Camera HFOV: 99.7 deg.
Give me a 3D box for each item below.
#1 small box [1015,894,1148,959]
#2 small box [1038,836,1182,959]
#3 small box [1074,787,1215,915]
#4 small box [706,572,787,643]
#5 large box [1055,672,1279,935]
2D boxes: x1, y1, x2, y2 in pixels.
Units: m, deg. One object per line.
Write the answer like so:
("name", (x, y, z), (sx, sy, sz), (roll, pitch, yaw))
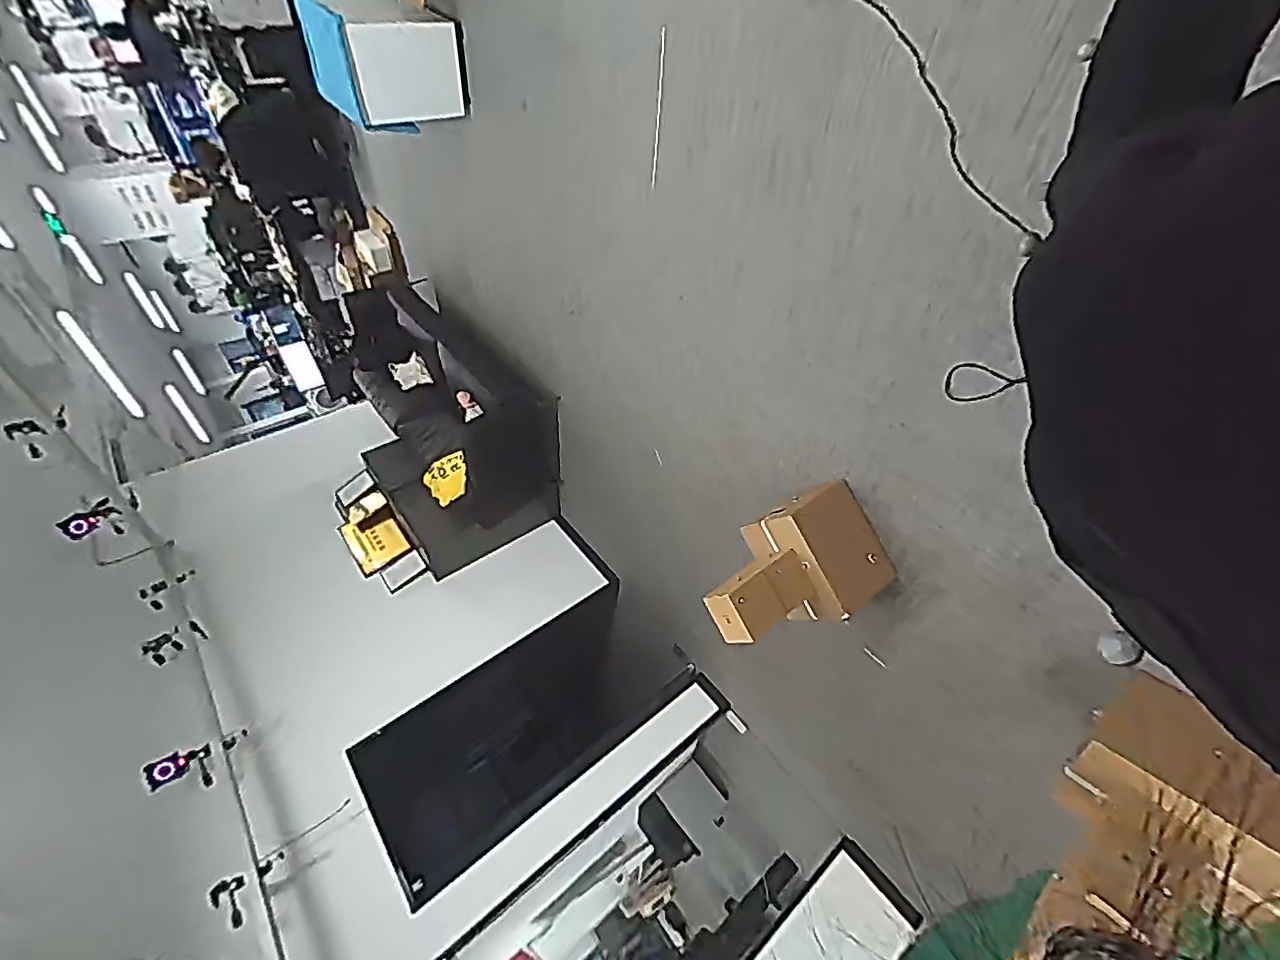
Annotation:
("small box", (0.896, 0.996, 1.096), (0.168, 0.176, 0.179), (37, 141, 39))
("small box", (1.022, 0.925, 1.176), (0.168, 0.176, 0.179), (38, 142, 38))
("small box", (1.156, 0.860, 1.244), (0.179, 0.176, 0.168), (37, 141, 40))
("small box", (0.363, 0.434, 1.834), (0.179, 0.176, 0.168), (62, 152, 4))
("large box", (1.363, 0.770, 1.342), (0.408, 0.320, 0.320), (32, 141, 41))
